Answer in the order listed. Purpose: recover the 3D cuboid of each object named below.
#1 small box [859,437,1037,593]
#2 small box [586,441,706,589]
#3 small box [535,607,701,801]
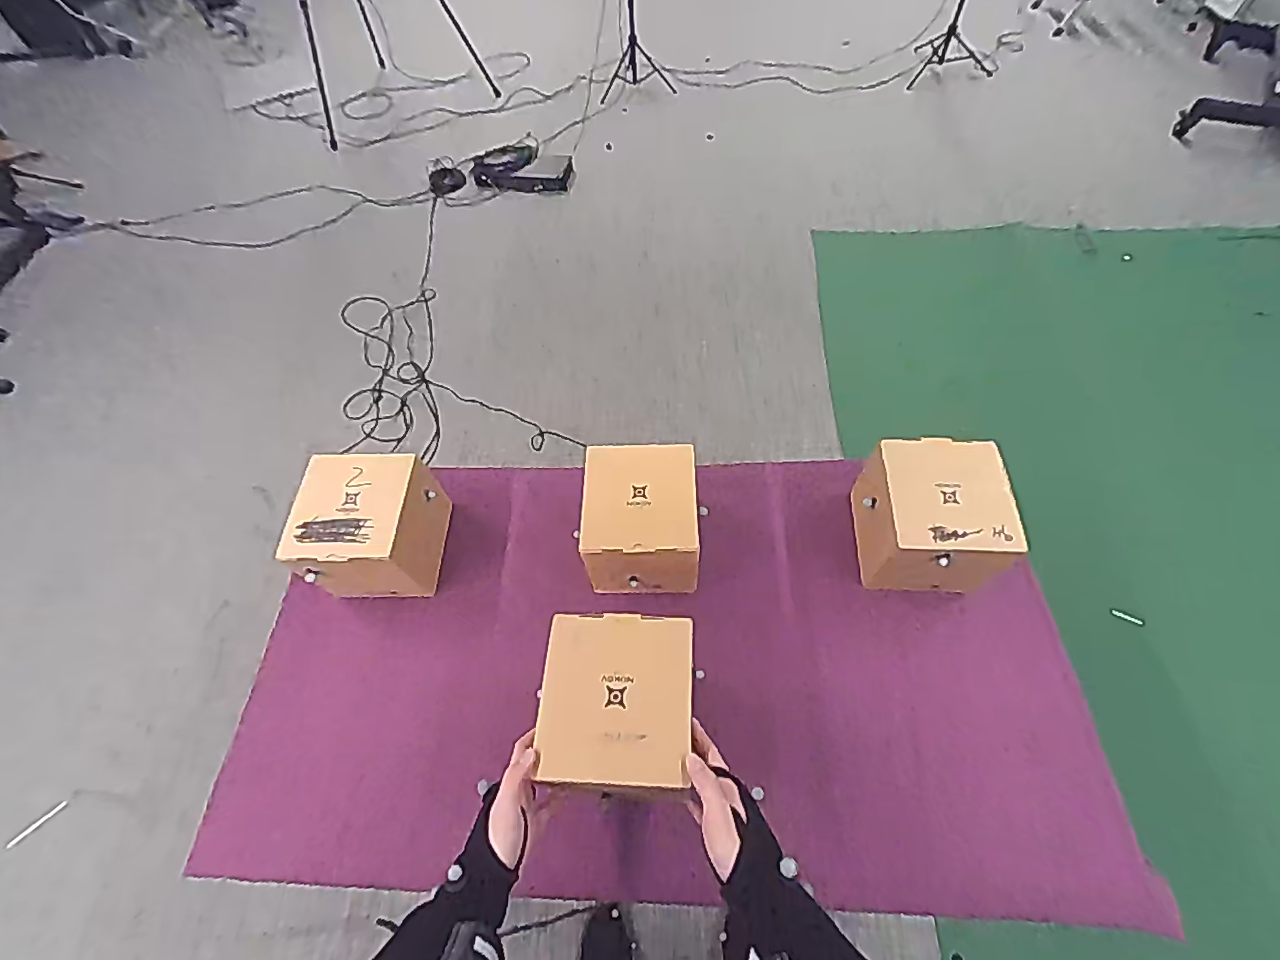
[{"bbox_3d":[0.441,0.055,0.811,0.168,0.176,0.179,2,60,6],"label":"small box"},{"bbox_3d":[0.012,0.057,0.838,0.168,0.176,0.179,0,60,2],"label":"small box"},{"bbox_3d":[-0.014,0.268,0.642,0.168,0.176,0.179,1,56,5],"label":"small box"}]
